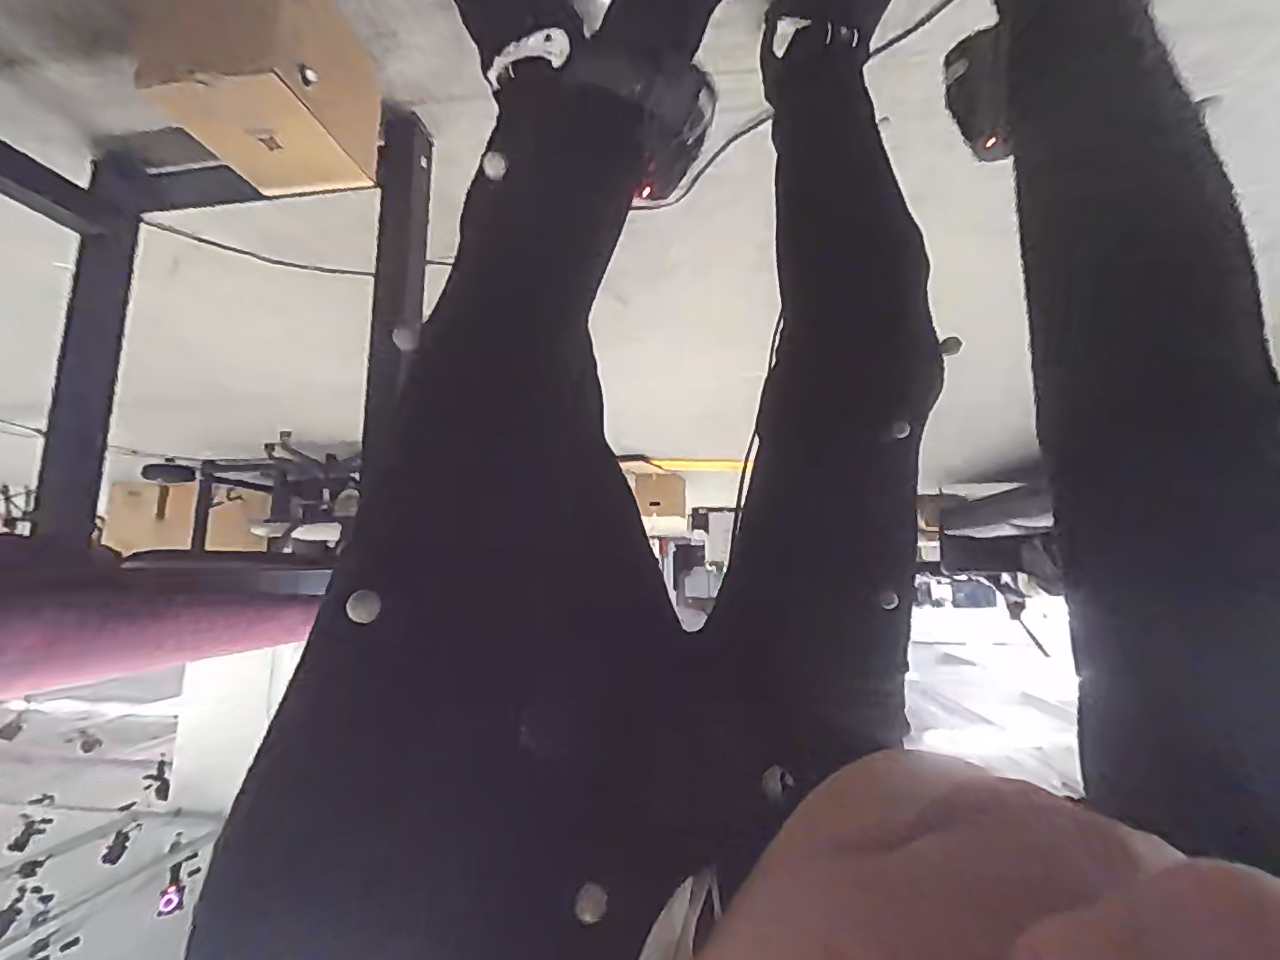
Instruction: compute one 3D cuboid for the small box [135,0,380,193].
[{"bbox_3d":[-0.440,-0.484,0.653,0.168,0.176,0.179,-1,171,8],"label":"small box"}]
